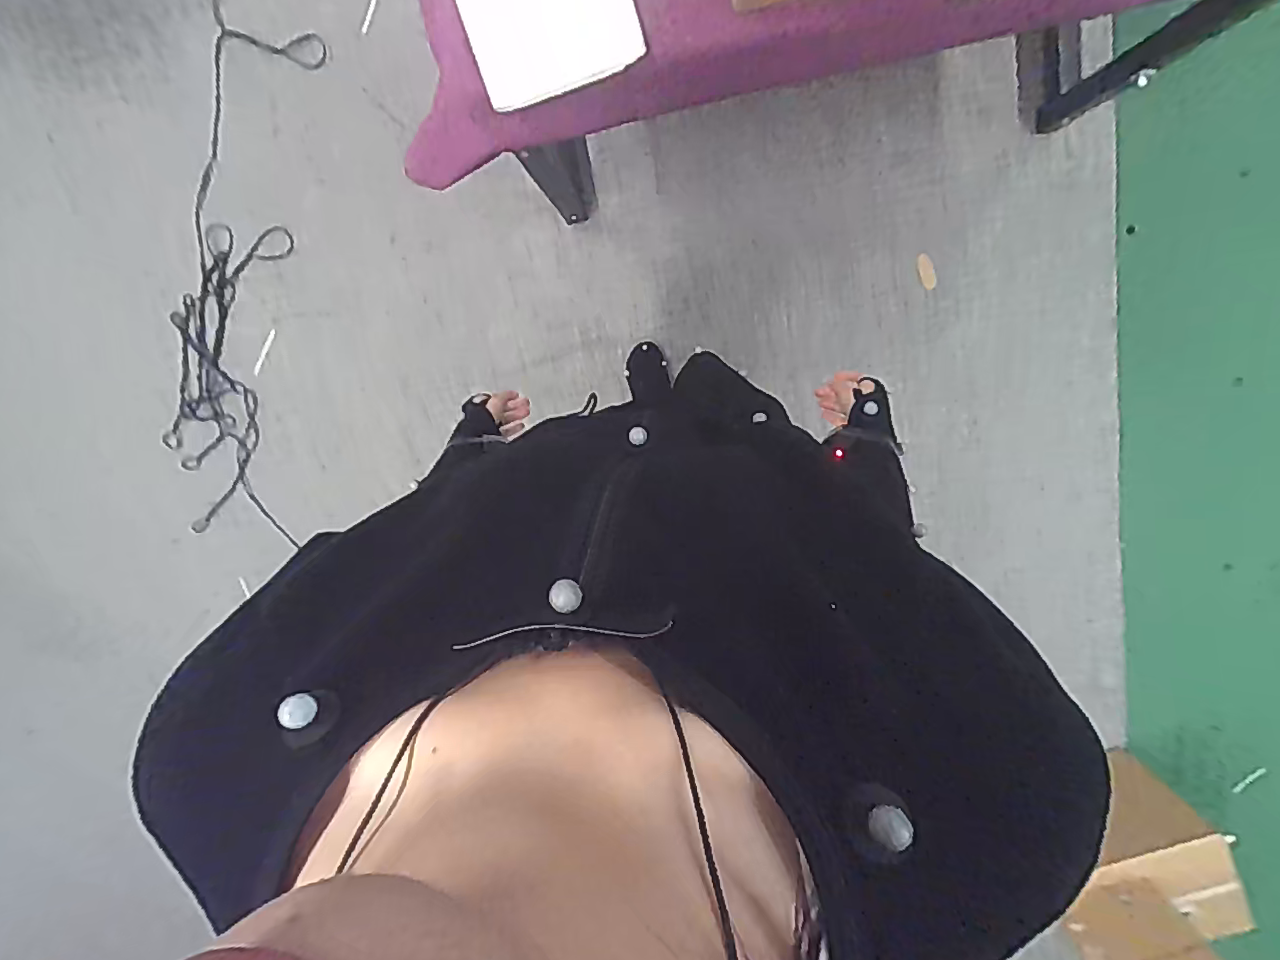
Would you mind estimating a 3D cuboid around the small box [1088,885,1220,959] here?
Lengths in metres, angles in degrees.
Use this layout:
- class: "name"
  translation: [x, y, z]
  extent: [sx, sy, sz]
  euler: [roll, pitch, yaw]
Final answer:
- class: "small box"
  translation: [1.199, 1.104, 1.266]
  extent: [0.179, 0.176, 0.168]
  euler: [-20, 100, 8]

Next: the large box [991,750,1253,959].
- class: "large box"
  translation: [1.298, 1.035, 1.497]
  extent: [0.408, 0.320, 0.320]
  euler: [-24, 100, 7]
